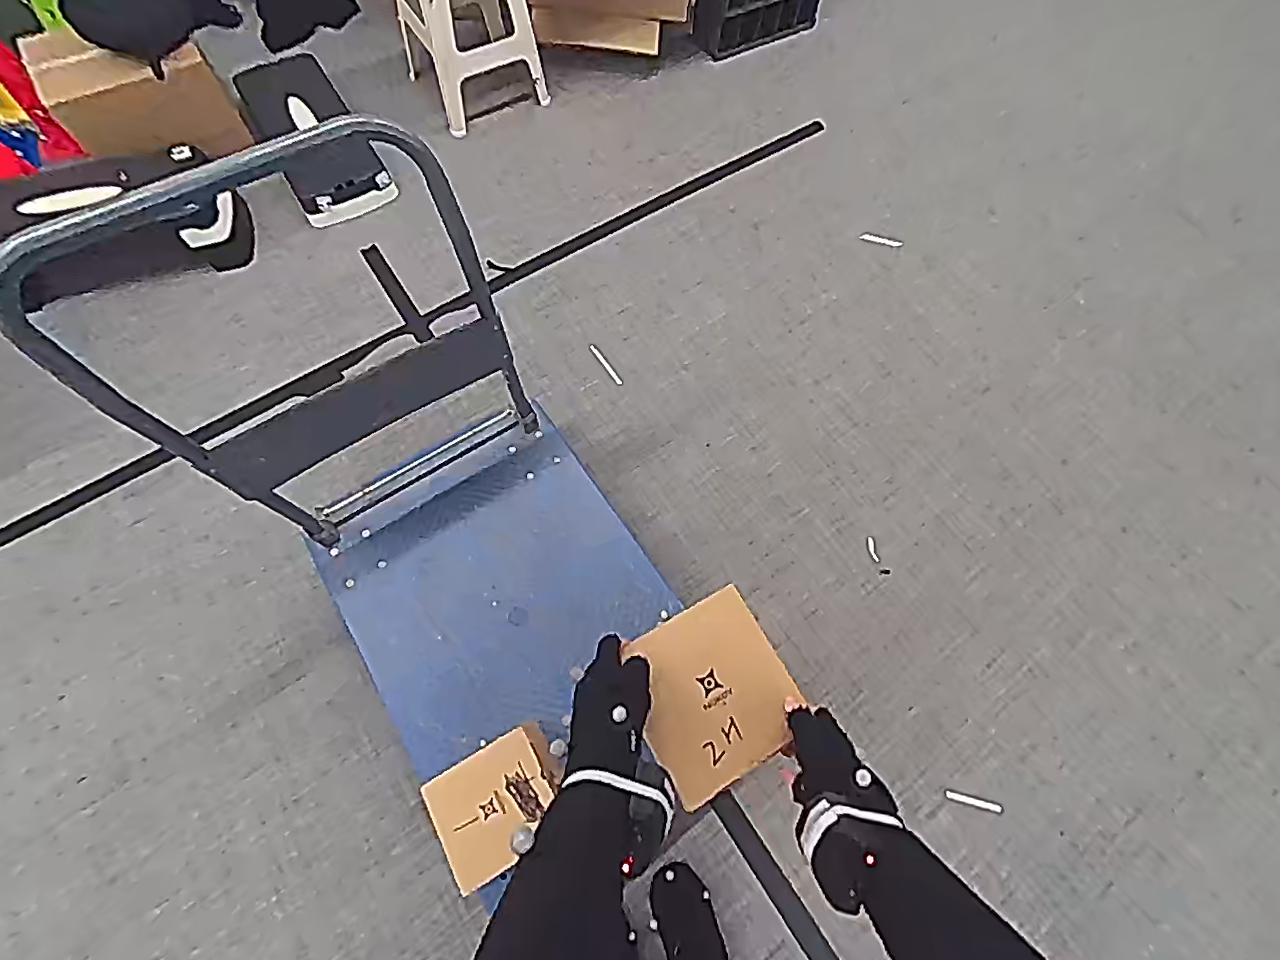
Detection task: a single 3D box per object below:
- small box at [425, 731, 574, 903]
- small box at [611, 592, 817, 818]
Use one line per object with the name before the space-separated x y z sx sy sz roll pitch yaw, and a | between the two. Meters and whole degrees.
small box | -0.219 0.536 0.893 0.179 0.176 0.168 -28 71 -12
small box | 0.074 0.260 0.655 0.168 0.176 0.179 -28 75 -11
